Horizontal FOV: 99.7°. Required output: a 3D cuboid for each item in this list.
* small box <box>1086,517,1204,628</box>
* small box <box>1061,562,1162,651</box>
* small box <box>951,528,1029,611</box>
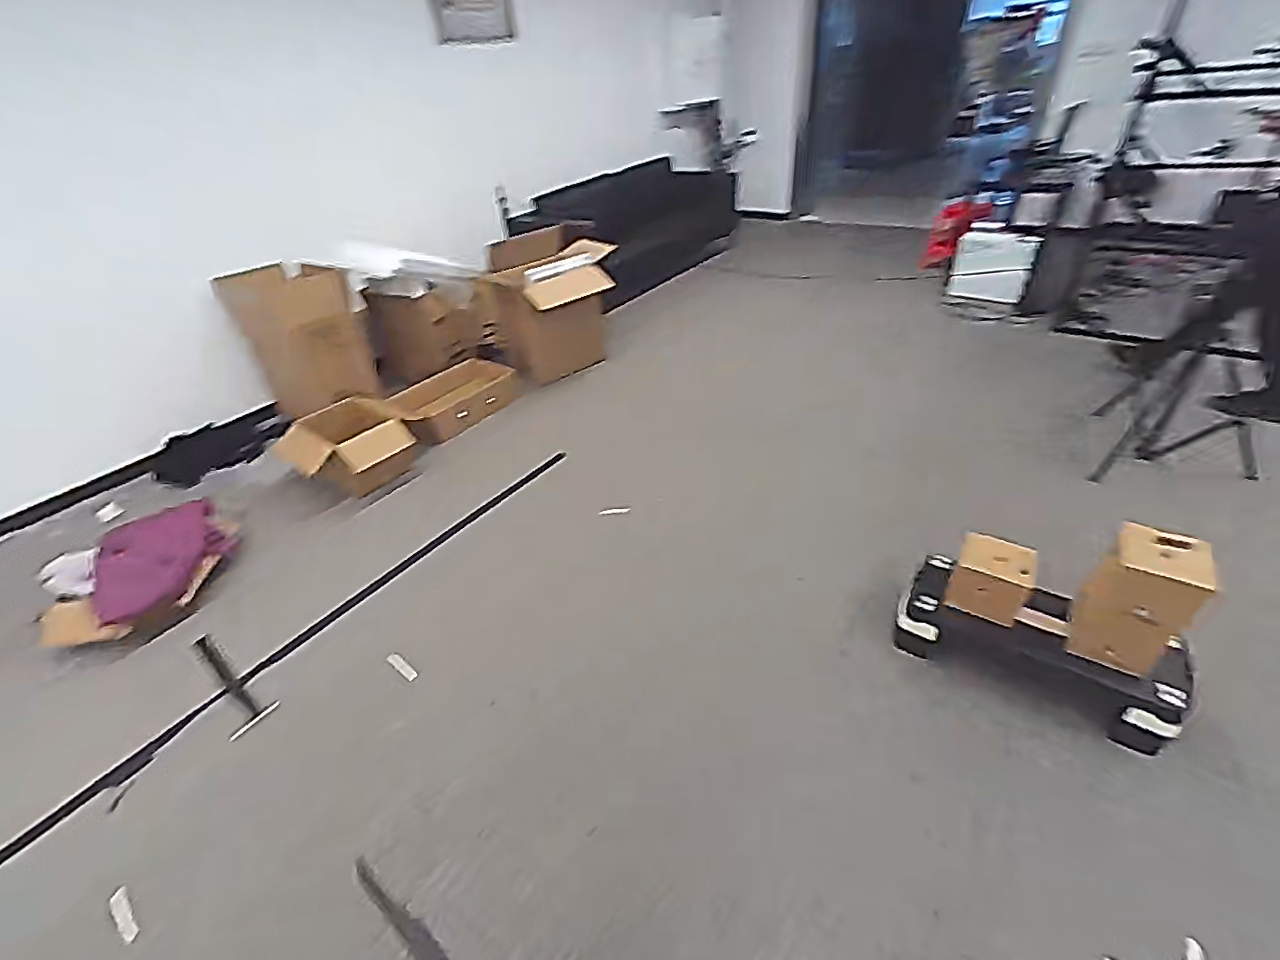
[{"bbox_3d":[1.233,0.226,1.333,0.168,0.176,0.179,18,44,30],"label":"small box"},{"bbox_3d":[1.239,0.356,1.434,0.168,0.176,0.179,18,44,30],"label":"small box"},{"bbox_3d":[1.002,0.273,1.580,0.179,0.176,0.168,18,43,29],"label":"small box"}]
